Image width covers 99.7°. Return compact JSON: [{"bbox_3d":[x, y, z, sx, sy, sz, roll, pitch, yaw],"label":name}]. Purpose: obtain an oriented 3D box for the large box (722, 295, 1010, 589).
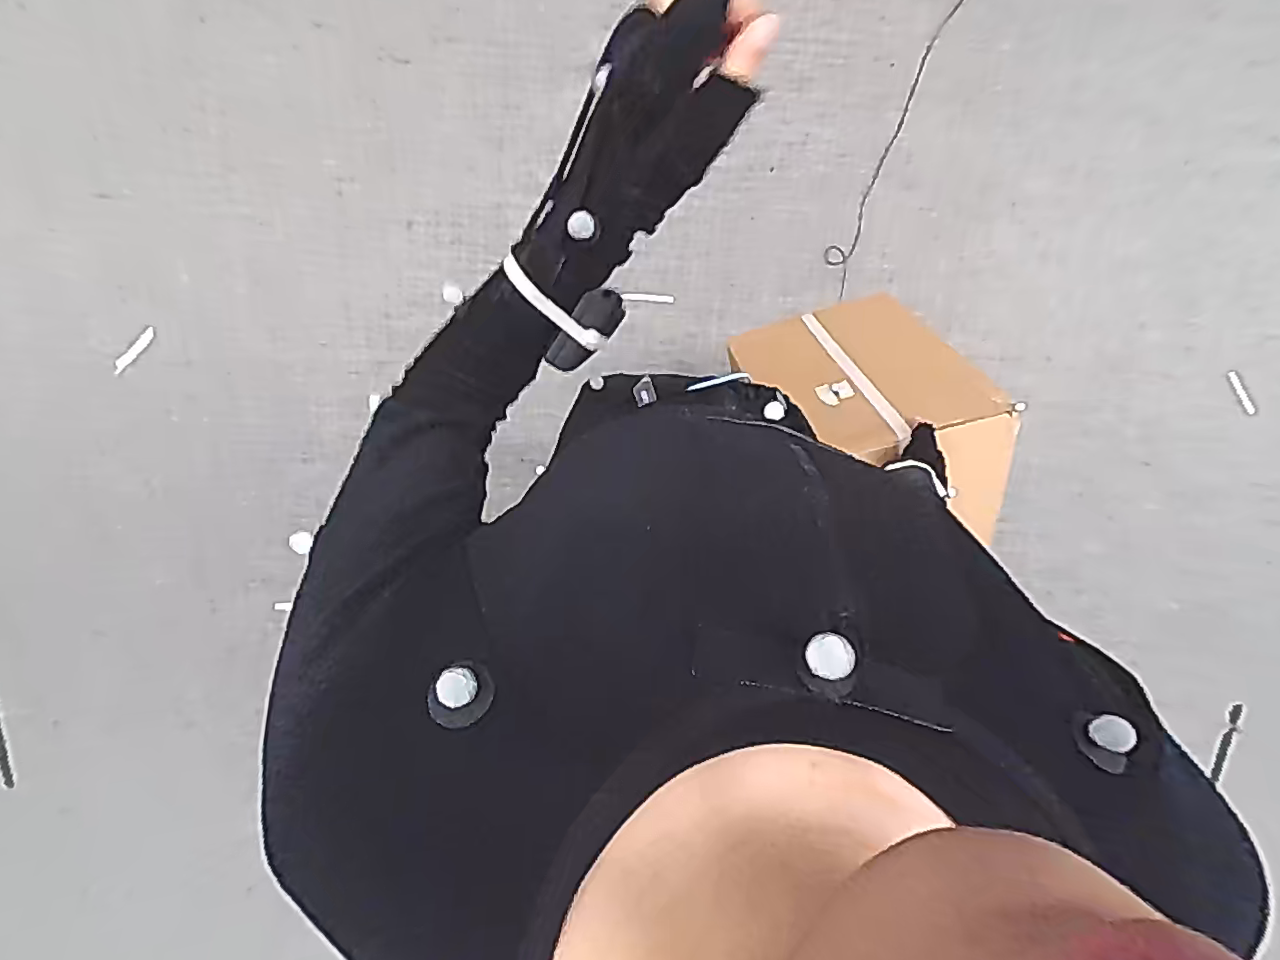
[{"bbox_3d":[0.363,-0.078,0.985,0.320,0.408,0.320,-15,132,5],"label":"large box"}]
